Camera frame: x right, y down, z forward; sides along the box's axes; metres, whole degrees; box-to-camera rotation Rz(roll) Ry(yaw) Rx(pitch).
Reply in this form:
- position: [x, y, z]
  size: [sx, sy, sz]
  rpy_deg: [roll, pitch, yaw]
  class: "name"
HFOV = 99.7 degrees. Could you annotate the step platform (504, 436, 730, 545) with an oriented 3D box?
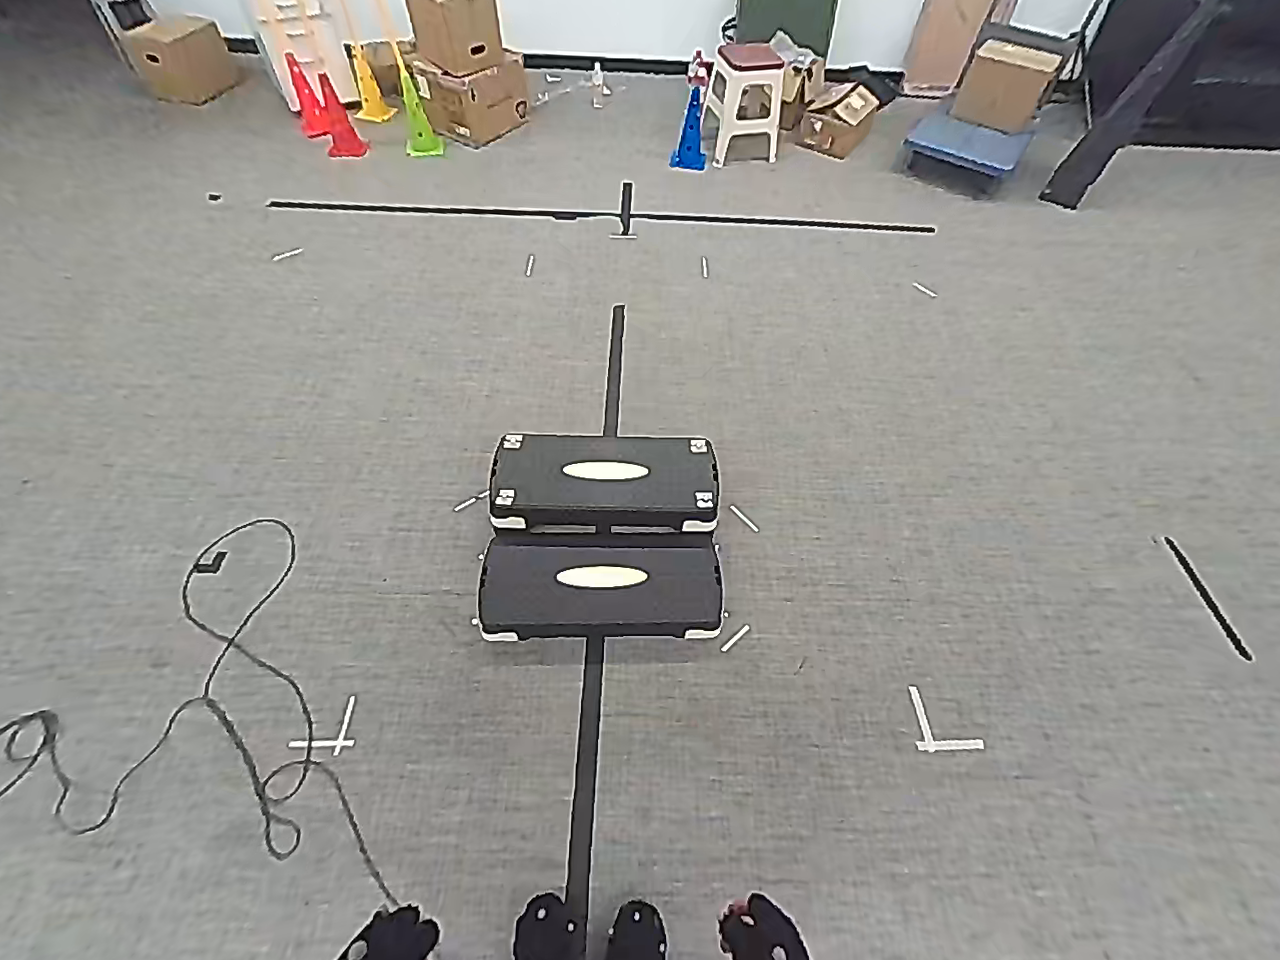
- position: [-0.068, 0.030, 1.665]
  size: [0.684, 0.204, 0.286]
  rpy_deg: [1, 55, -3]
  class: "step platform"
